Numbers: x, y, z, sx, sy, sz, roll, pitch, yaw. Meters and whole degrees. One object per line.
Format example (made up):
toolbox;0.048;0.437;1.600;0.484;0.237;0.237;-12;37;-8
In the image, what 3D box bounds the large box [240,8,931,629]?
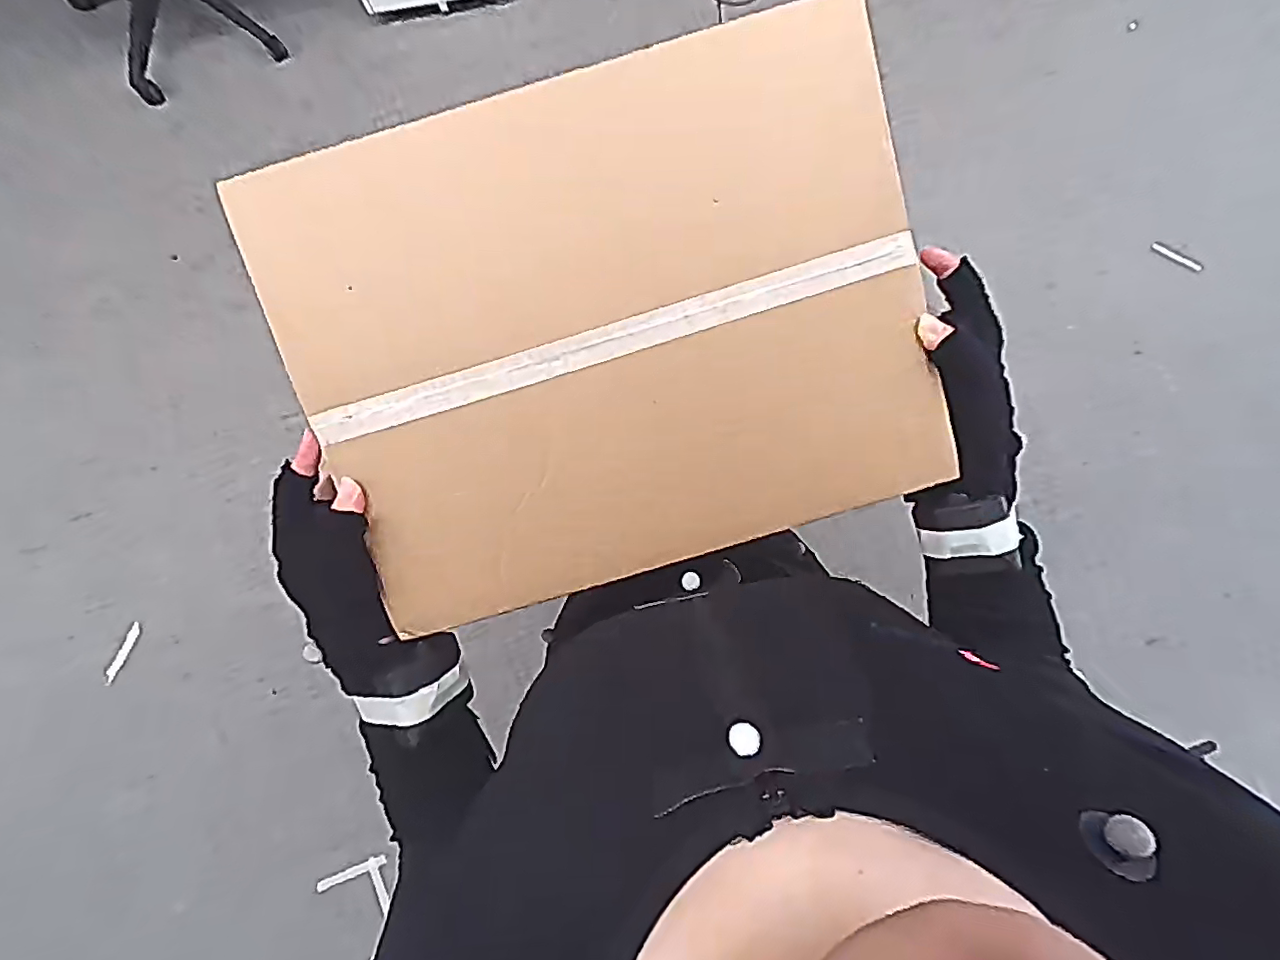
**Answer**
large box;-0.027;-0.118;0.510;0.408;0.320;0.320;-17;99;1
